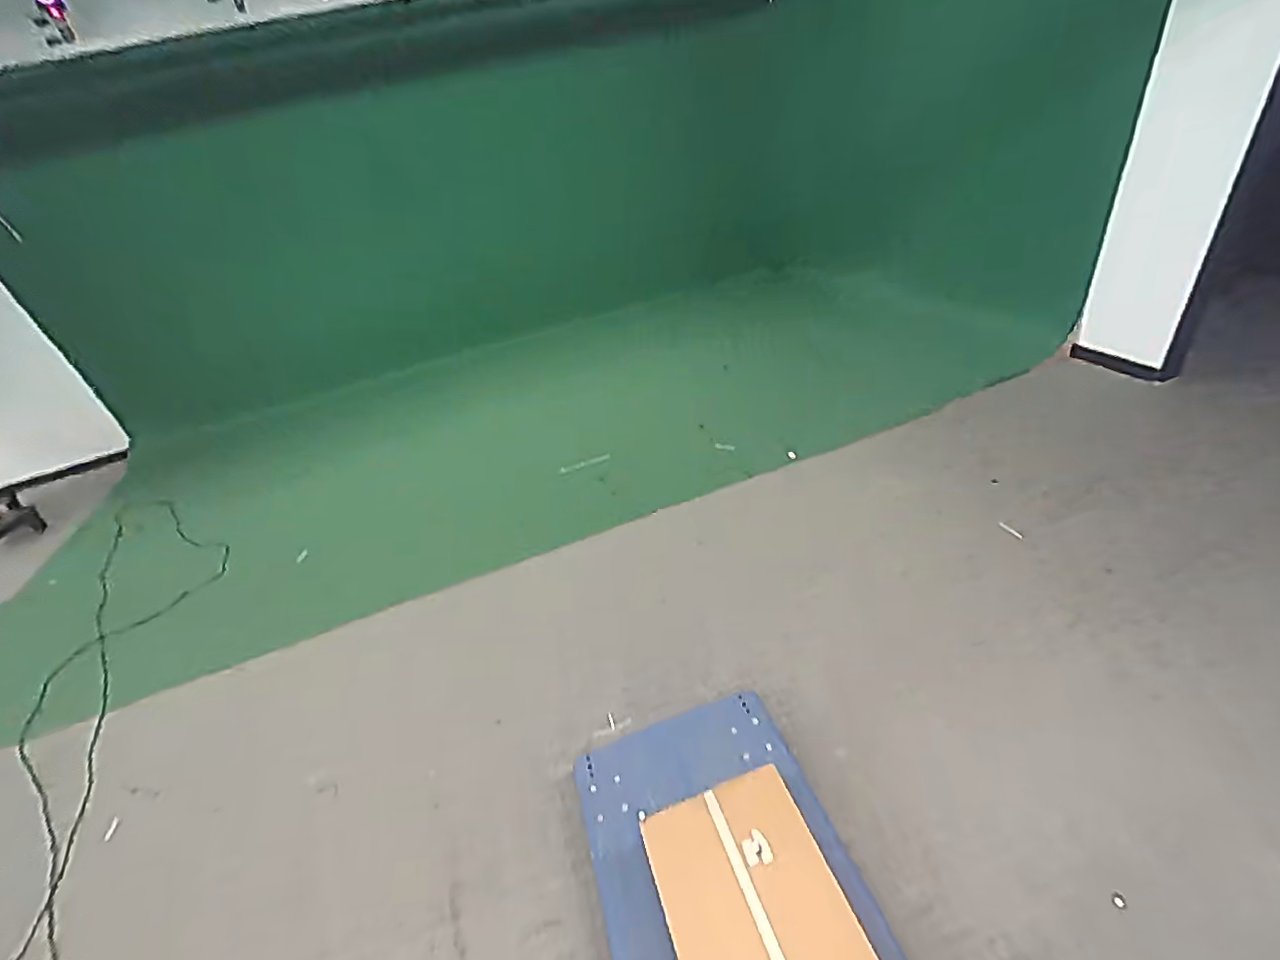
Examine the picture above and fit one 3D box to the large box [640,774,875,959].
[{"bbox_3d":[0.231,0.898,1.064,0.320,0.320,0.408,-18,34,-9],"label":"large box"}]
